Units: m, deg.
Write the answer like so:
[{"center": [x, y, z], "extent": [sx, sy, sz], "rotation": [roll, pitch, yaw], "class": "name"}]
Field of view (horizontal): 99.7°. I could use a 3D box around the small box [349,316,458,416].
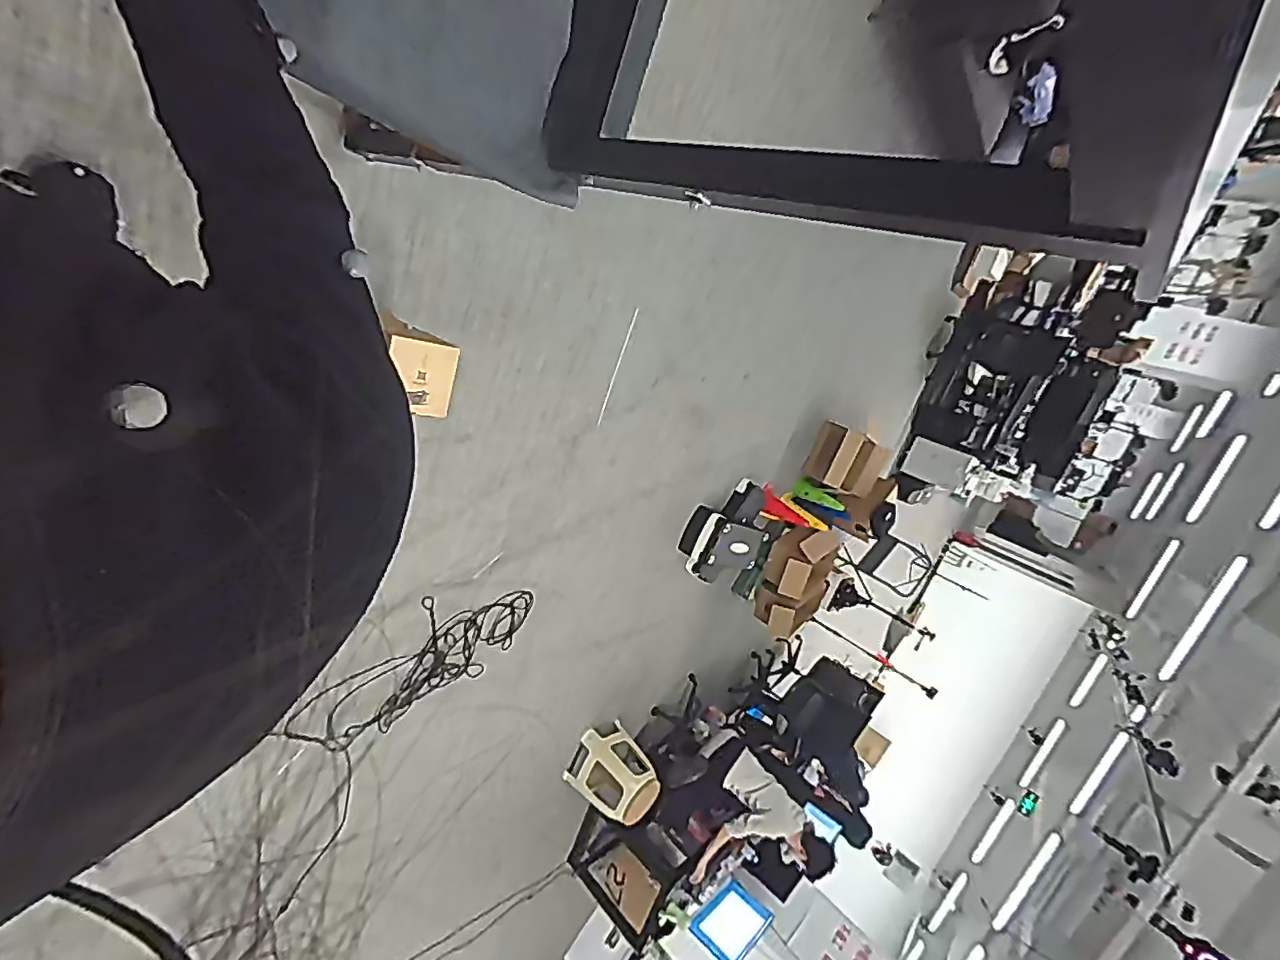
[{"center": [-0.559, -0.266, 1.267], "extent": [0.168, 0.176, 0.179], "rotation": [0, 113, -50], "class": "small box"}]
